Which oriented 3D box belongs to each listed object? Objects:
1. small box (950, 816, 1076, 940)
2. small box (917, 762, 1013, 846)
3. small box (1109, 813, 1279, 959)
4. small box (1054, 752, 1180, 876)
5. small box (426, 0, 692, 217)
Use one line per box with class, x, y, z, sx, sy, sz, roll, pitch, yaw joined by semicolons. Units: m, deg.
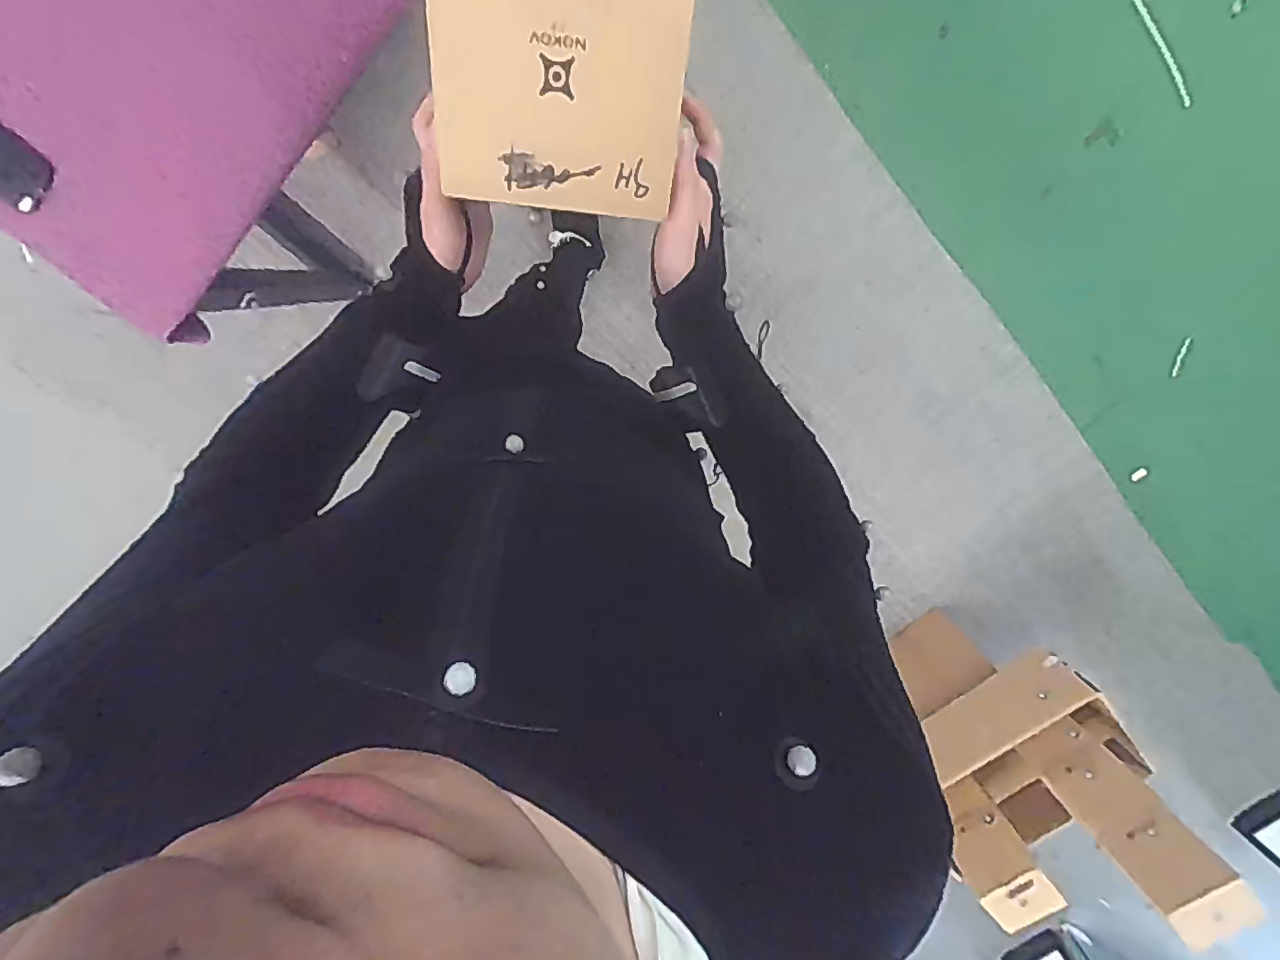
small box;0.929;0.990;1.362;0.168;0.176;0.179;-38;107;12
small box;0.926;0.940;1.519;0.168;0.176;0.179;-40;106;12
small box;1.165;0.856;1.148;0.168;0.176;0.179;-38;107;10
small box;1.159;0.800;1.301;0.168;0.176;0.179;-38;107;10
small box;-0.054;-0.314;0.415;0.168;0.176;0.179;6;120;-3
